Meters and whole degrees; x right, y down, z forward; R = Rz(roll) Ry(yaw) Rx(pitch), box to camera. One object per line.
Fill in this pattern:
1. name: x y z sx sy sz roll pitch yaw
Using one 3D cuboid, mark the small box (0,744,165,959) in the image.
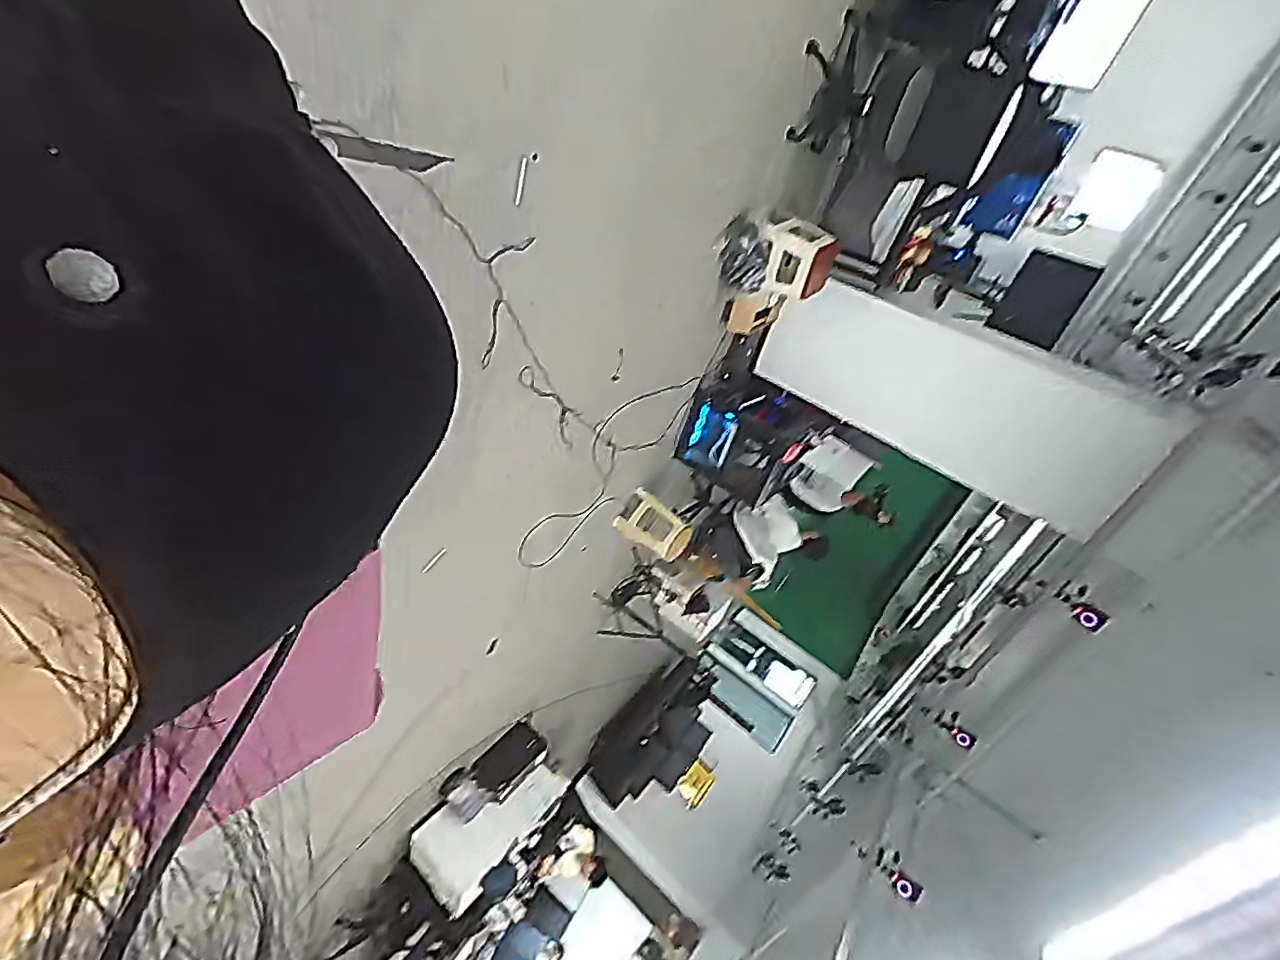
1. small box: -0.835 0.523 0.784 0.168 0.176 0.179 -24 143 -50
